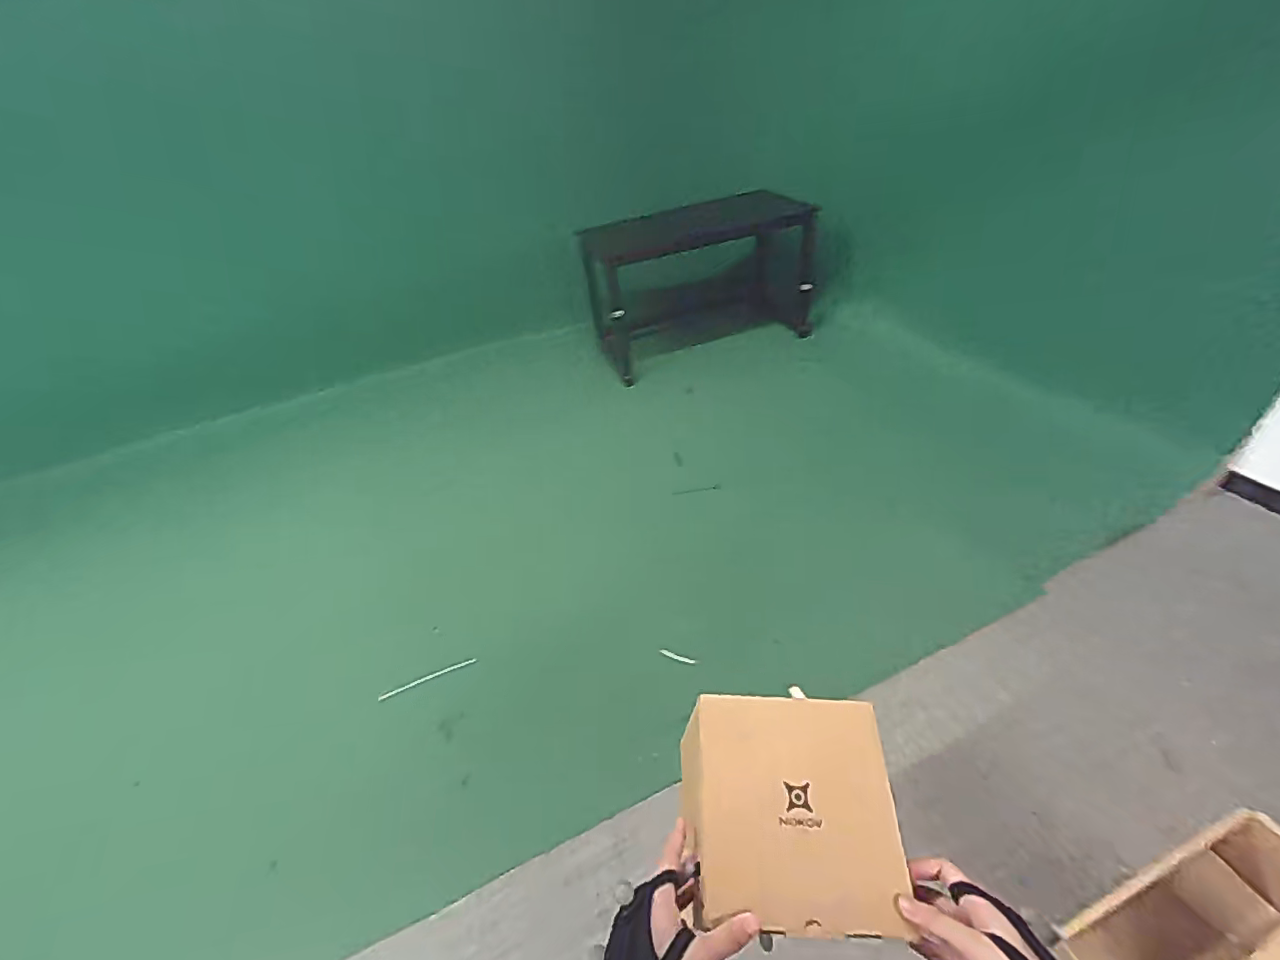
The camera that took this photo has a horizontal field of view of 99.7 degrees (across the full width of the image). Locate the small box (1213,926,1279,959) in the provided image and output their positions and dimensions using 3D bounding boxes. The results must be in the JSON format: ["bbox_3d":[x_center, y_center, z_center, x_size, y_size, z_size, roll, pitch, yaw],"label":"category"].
[{"bbox_3d":[0.807,0.675,0.649,0.179,0.176,0.168,-22,41,-14],"label":"small box"}]
